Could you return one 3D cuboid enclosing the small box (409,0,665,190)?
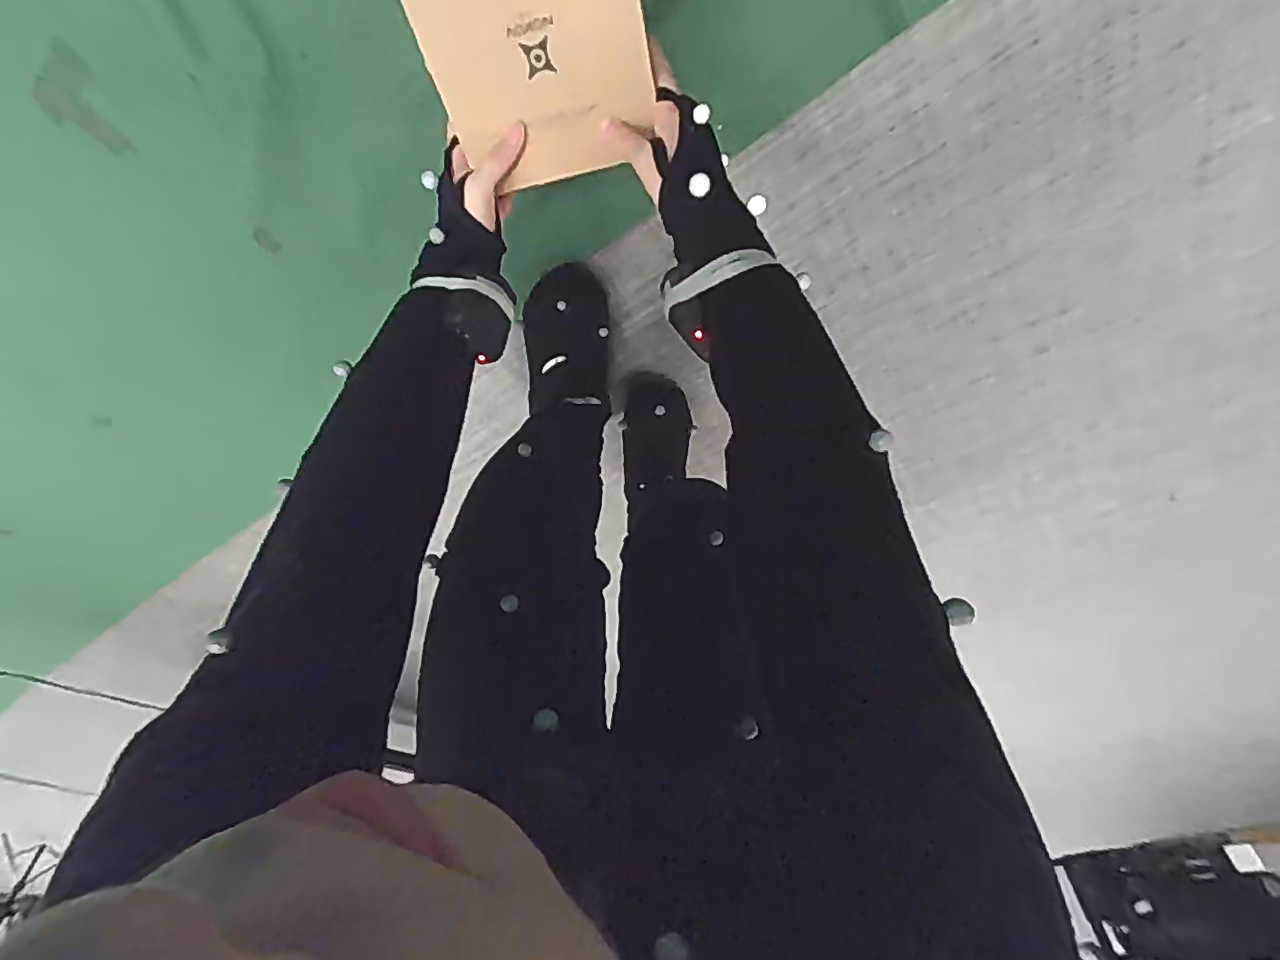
[{"bbox_3d":[-0.077,-0.381,0.456,0.168,0.176,0.179,-9,137,8],"label":"small box"}]
